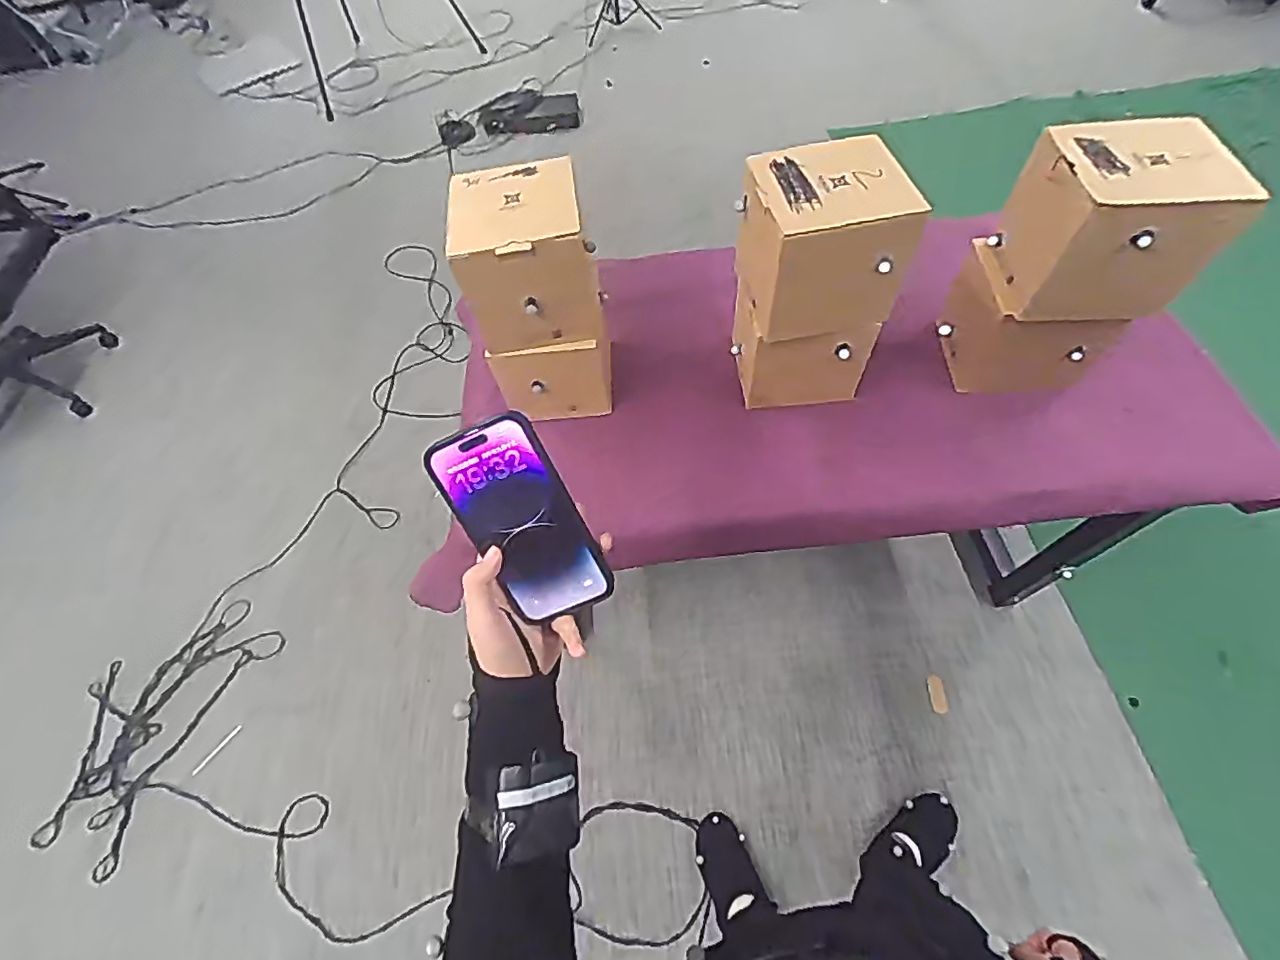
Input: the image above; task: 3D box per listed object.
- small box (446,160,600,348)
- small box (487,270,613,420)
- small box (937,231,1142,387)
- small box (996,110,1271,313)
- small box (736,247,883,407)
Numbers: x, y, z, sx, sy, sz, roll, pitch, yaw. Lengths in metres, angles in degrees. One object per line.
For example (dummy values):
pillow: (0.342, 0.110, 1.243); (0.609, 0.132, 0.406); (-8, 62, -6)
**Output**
small box: (-0.154, -0.303, 0.753); (0.168, 0.176, 0.179); (-9, 59, 0)
small box: (-0.136, -0.212, 0.889); (0.168, 0.176, 0.179); (-5, 59, 4)
small box: (0.591, -0.257, 0.827); (0.179, 0.176, 0.168); (0, 59, 7)
small box: (0.584, -0.328, 0.679); (0.179, 0.176, 0.168); (-1, 59, 6)
small box: (0.252, -0.235, 0.854); (0.179, 0.176, 0.168); (-6, 59, 4)
